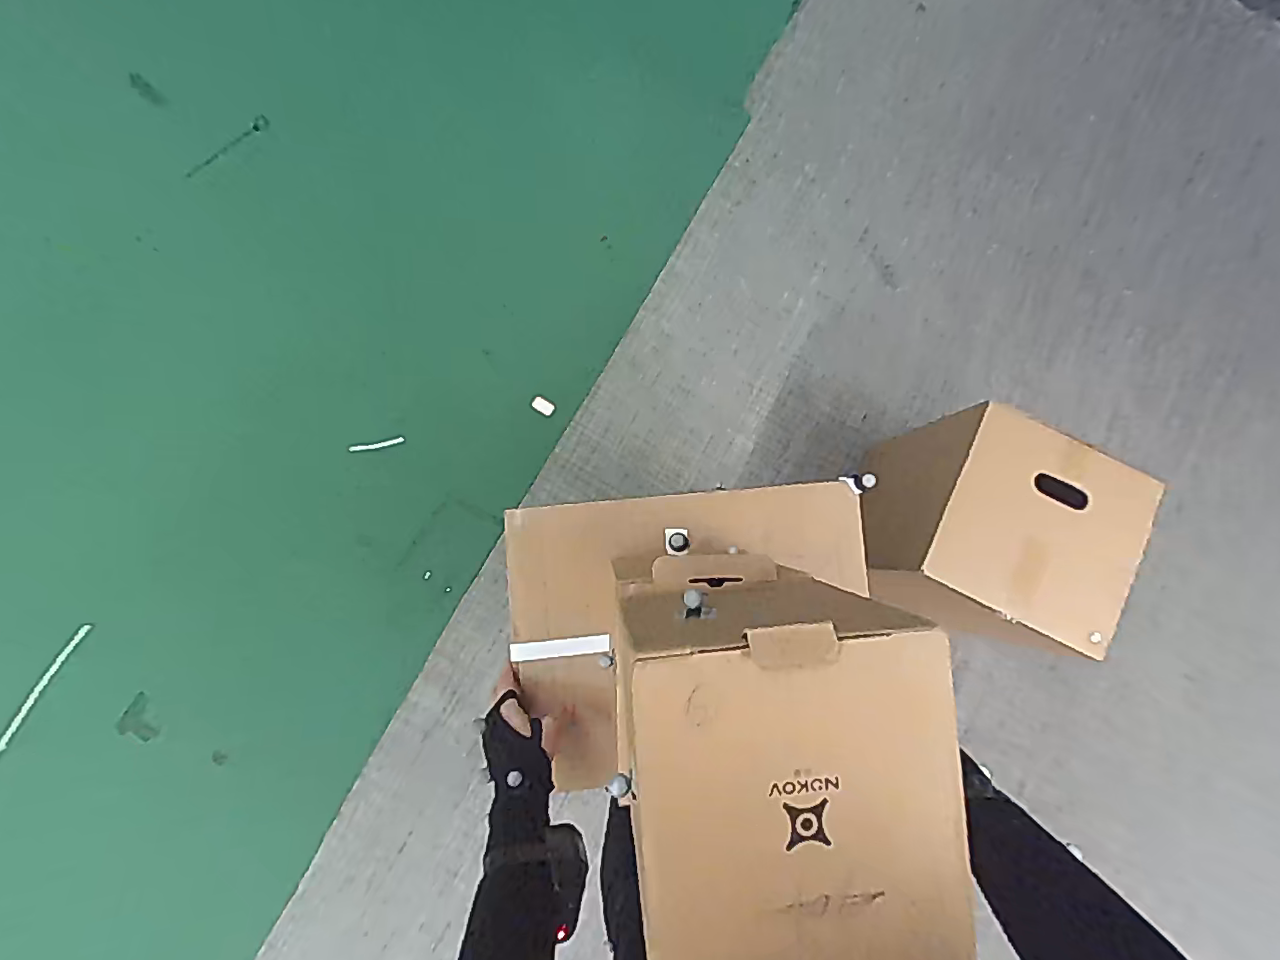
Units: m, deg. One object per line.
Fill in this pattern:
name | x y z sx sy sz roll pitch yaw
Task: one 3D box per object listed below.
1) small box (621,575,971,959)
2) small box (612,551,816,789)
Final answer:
small box | 0.076 0.158 0.352 0.168 0.176 0.179 -3 88 -4
small box | 0.058 0.159 0.514 0.168 0.176 0.179 -1 88 -4
